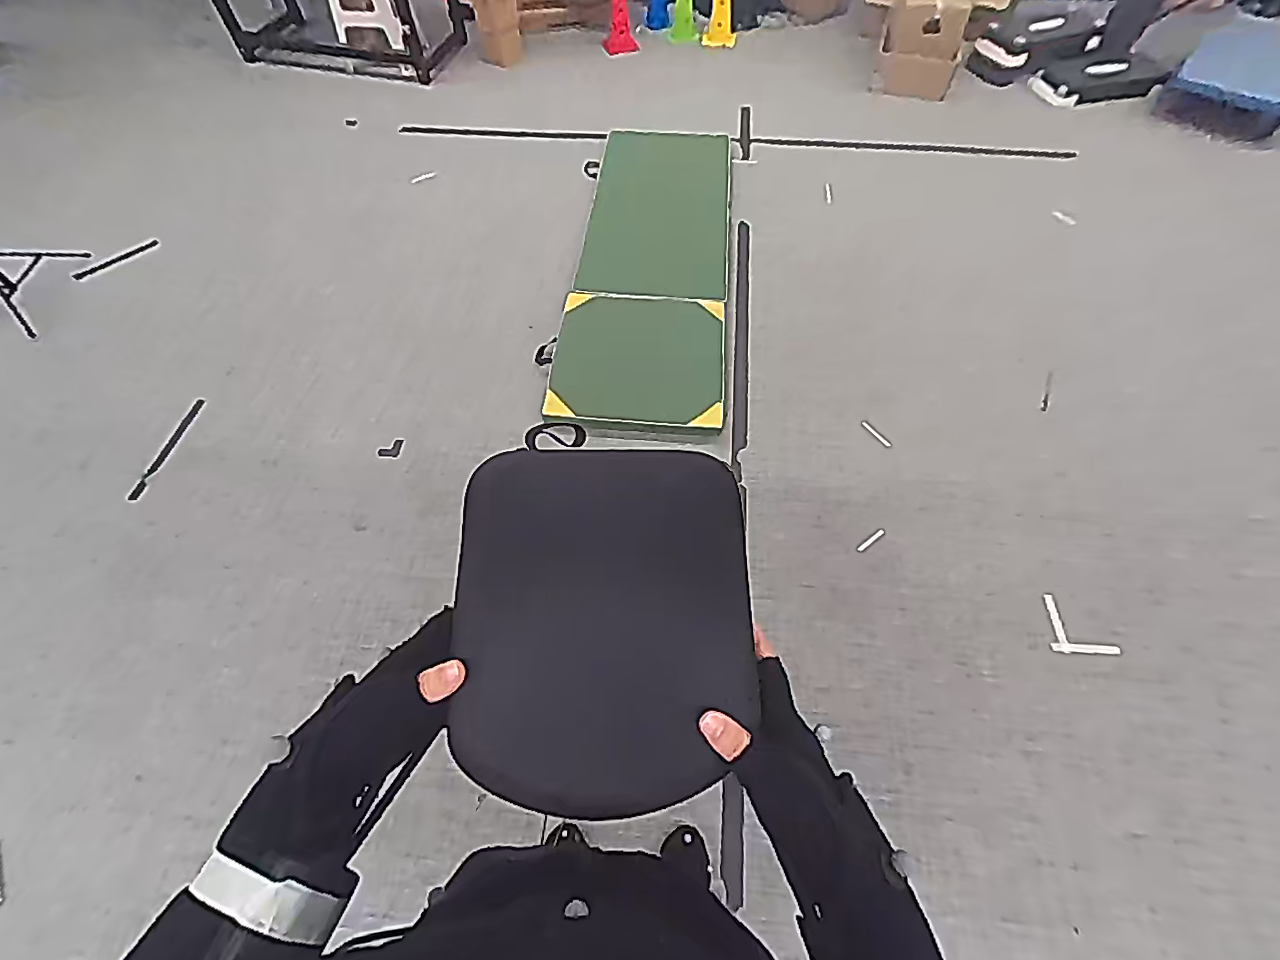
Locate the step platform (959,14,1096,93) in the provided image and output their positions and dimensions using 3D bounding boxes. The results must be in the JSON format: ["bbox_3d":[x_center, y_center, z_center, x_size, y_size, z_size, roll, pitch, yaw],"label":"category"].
[{"bbox_3d":[2.178,-2.400,3.035,0.684,0.204,0.286,-21,61,-12],"label":"step platform"}]
